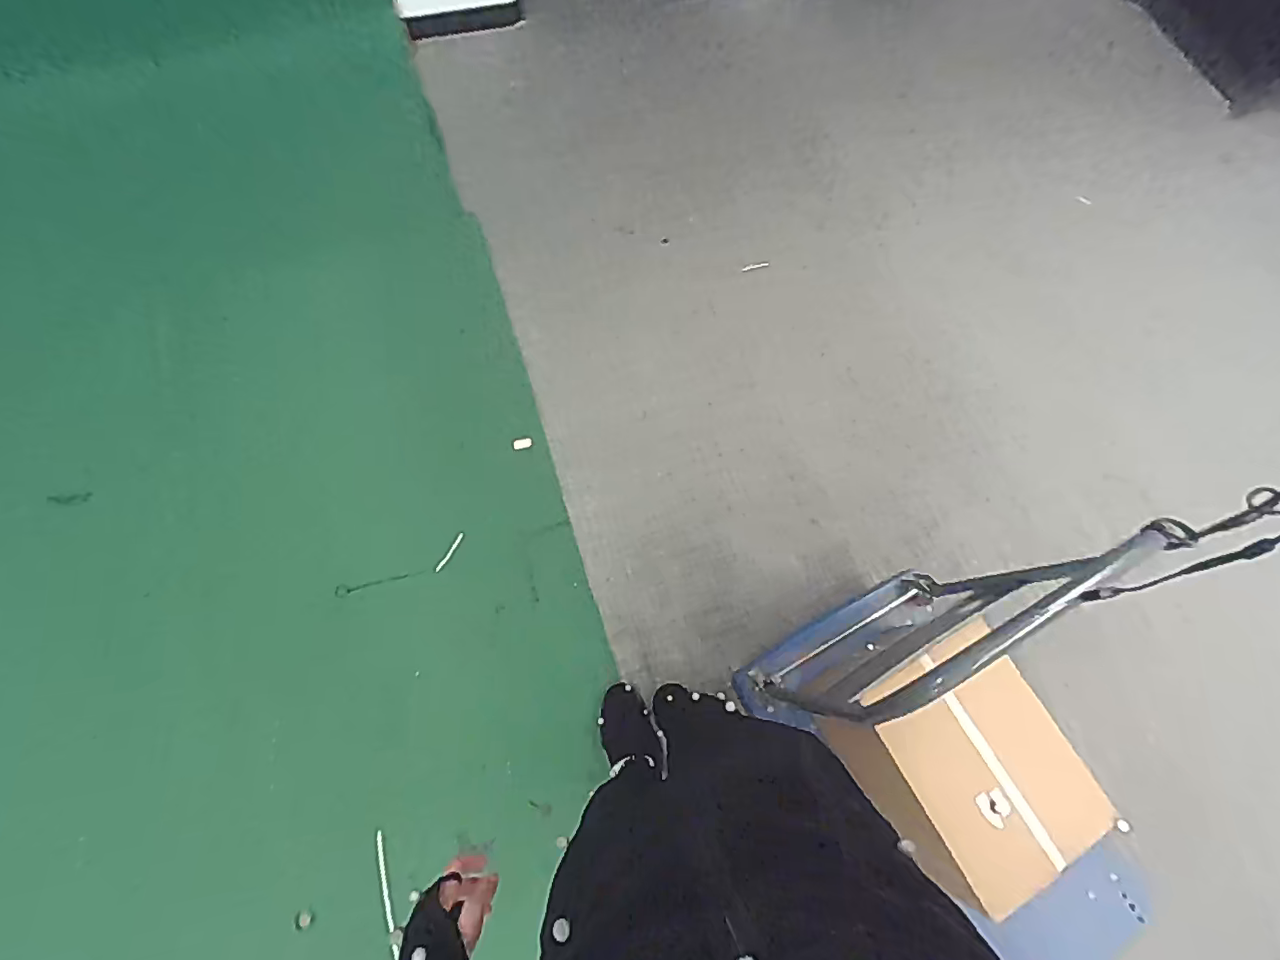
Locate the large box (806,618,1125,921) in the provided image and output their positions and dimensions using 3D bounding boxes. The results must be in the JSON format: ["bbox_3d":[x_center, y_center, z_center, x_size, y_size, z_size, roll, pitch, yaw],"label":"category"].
[{"bbox_3d":[0.619,0.544,1.109,0.320,0.320,0.408,-25,75,-12],"label":"large box"}]
